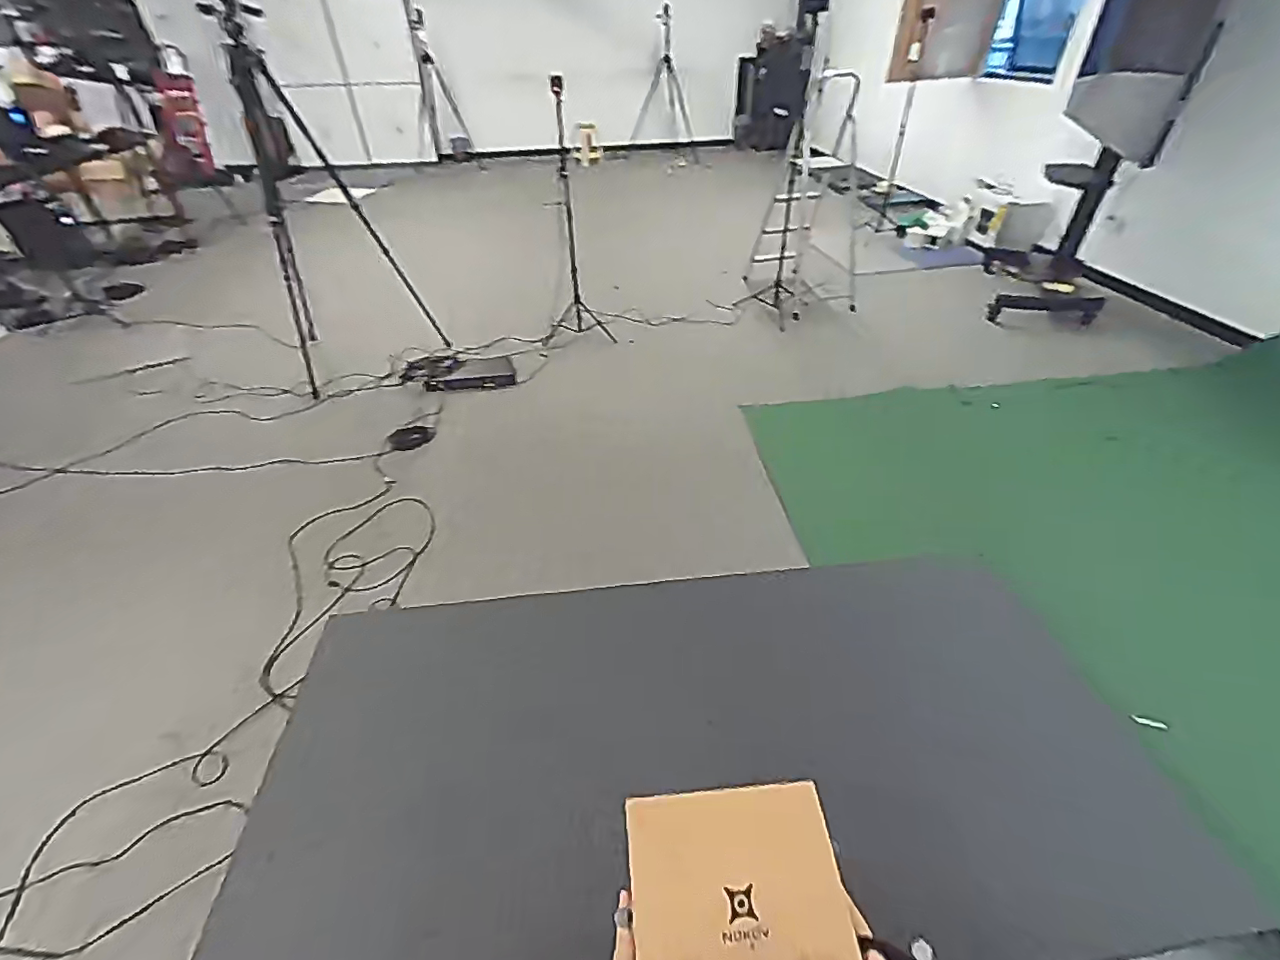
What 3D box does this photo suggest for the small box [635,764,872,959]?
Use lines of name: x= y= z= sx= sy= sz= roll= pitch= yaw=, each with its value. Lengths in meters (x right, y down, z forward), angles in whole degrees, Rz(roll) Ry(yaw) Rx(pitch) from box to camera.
small box: x=0.082 y=0.372 z=0.473 sx=0.168 sy=0.176 sz=0.179 roll=-5 pitch=48 yaw=-3
